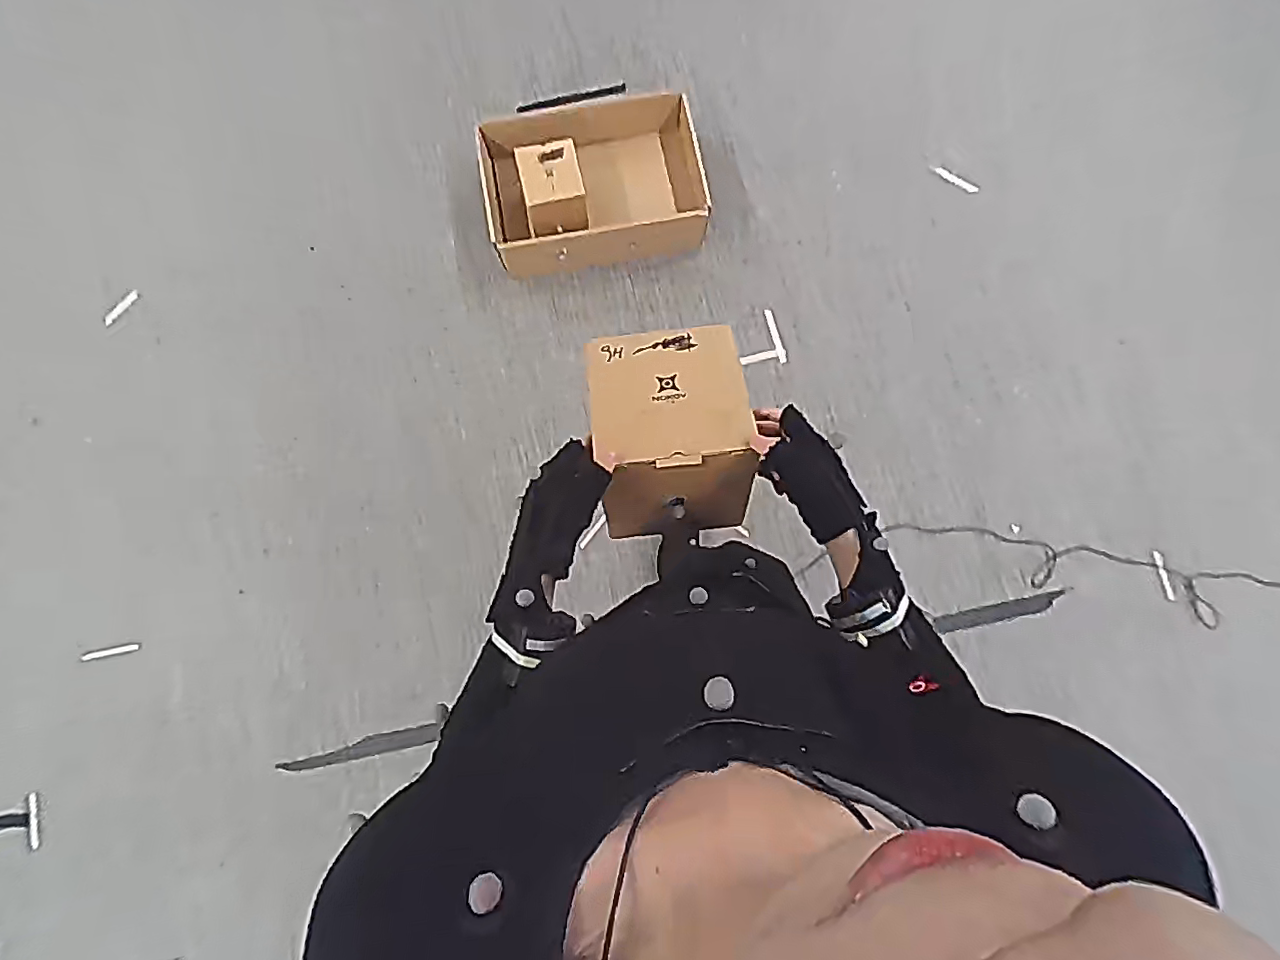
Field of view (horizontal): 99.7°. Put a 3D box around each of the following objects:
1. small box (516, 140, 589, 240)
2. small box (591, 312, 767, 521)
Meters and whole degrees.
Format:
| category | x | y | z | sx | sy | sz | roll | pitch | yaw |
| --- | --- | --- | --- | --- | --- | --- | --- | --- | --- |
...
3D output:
| category | x | y | z | sx | sy | sz | roll | pitch | yaw |
| --- | --- | --- | --- | --- | --- | --- | --- | --- | --- |
| small box | -0.246 | -0.827 | 1.553 | 0.168 | 0.176 | 0.179 | -13 | 82 | -3 |
| small box | 0.039 | -0.062 | 0.624 | 0.168 | 0.176 | 0.179 | -6 | 61 | 0 |
